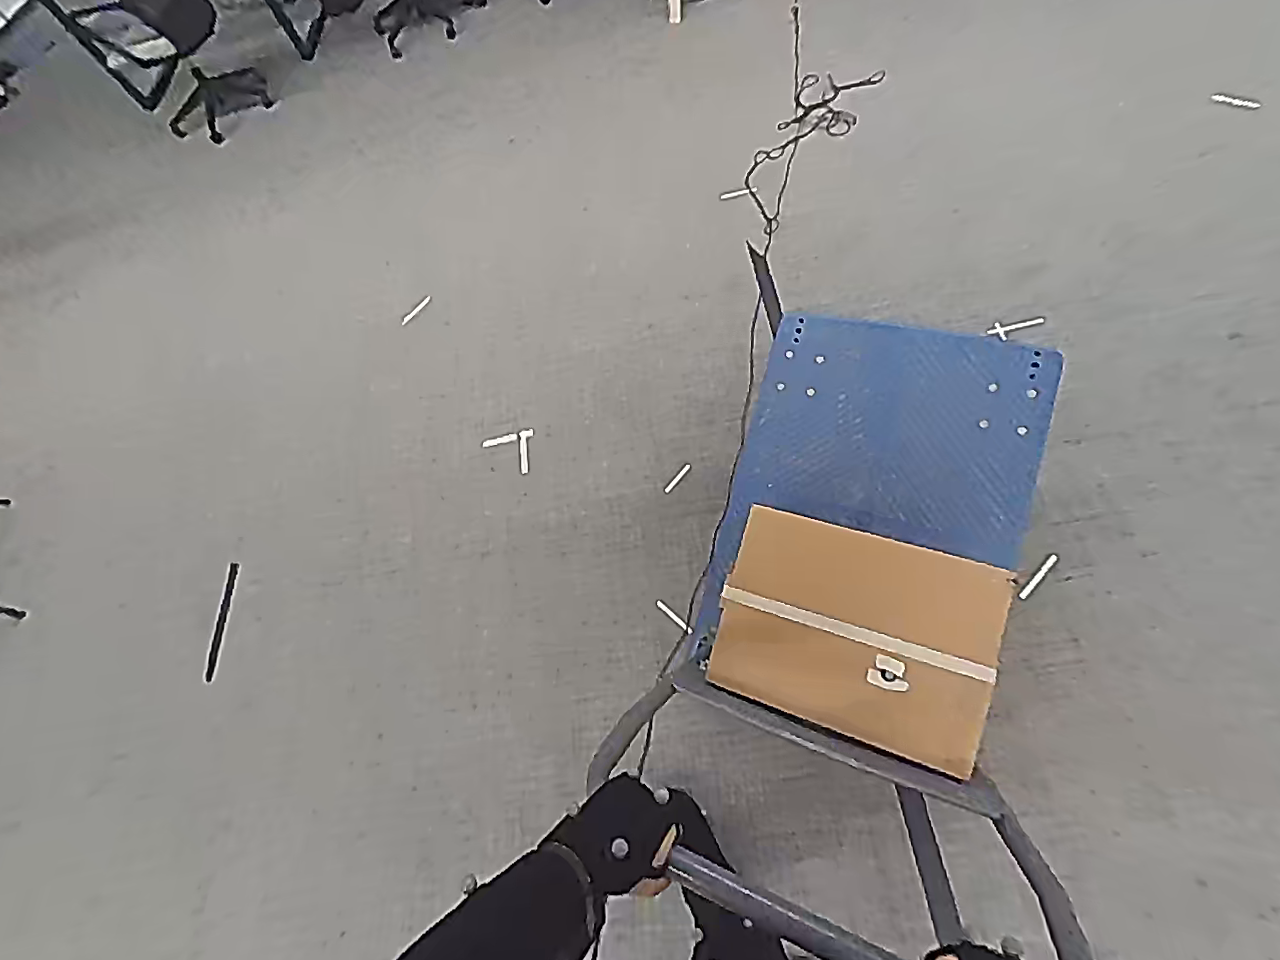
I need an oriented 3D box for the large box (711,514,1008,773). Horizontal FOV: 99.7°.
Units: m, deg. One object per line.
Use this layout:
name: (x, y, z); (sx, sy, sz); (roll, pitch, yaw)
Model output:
large box: (0.381, 0.272, 1.012); (0.408, 0.320, 0.320); (14, 85, 19)
